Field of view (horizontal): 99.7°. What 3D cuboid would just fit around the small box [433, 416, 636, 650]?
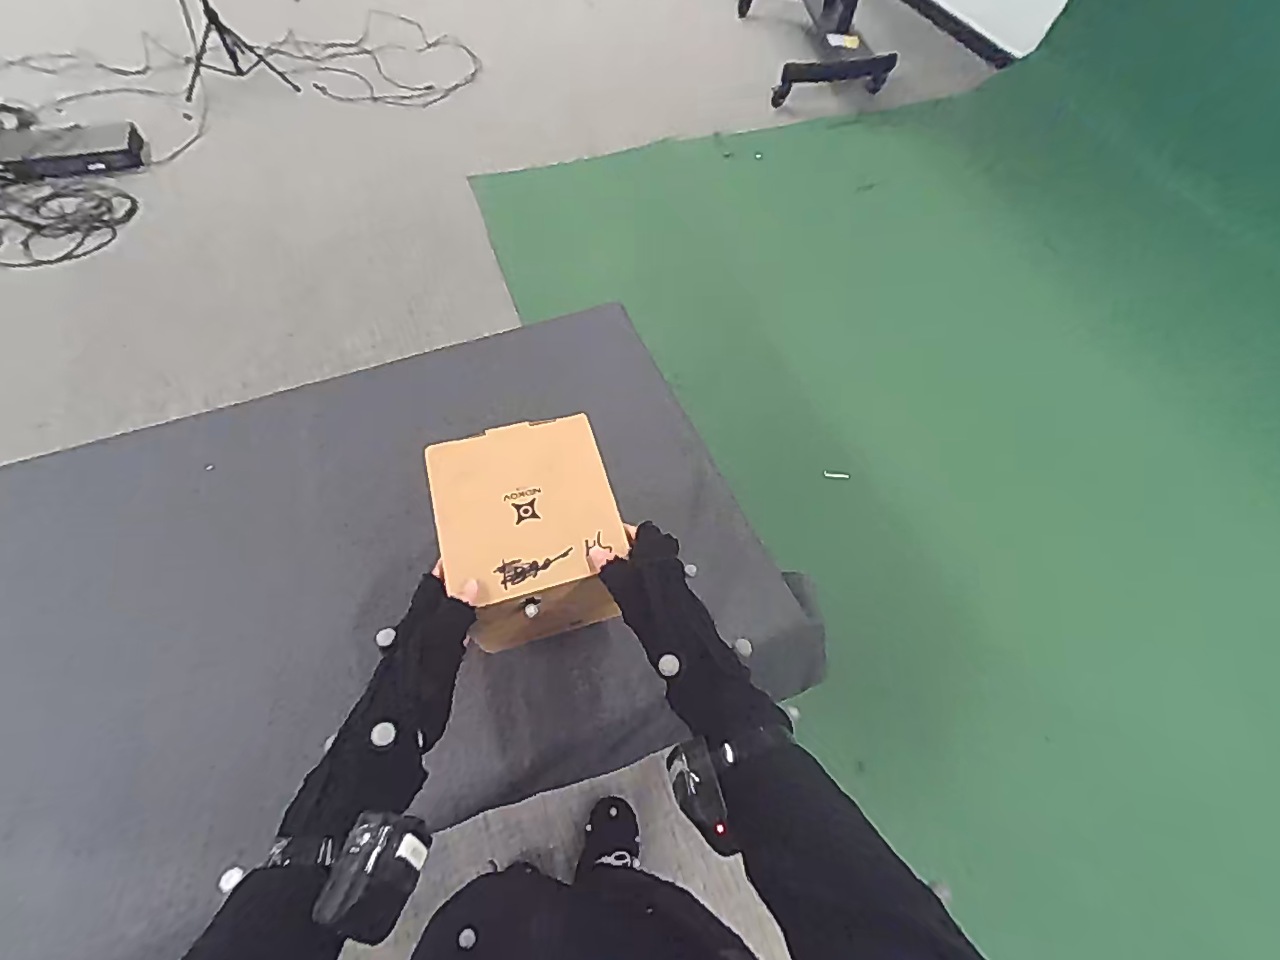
[{"bbox_3d":[-0.110,0.061,0.581,0.168,0.176,0.179,-14,63,-11],"label":"small box"}]
